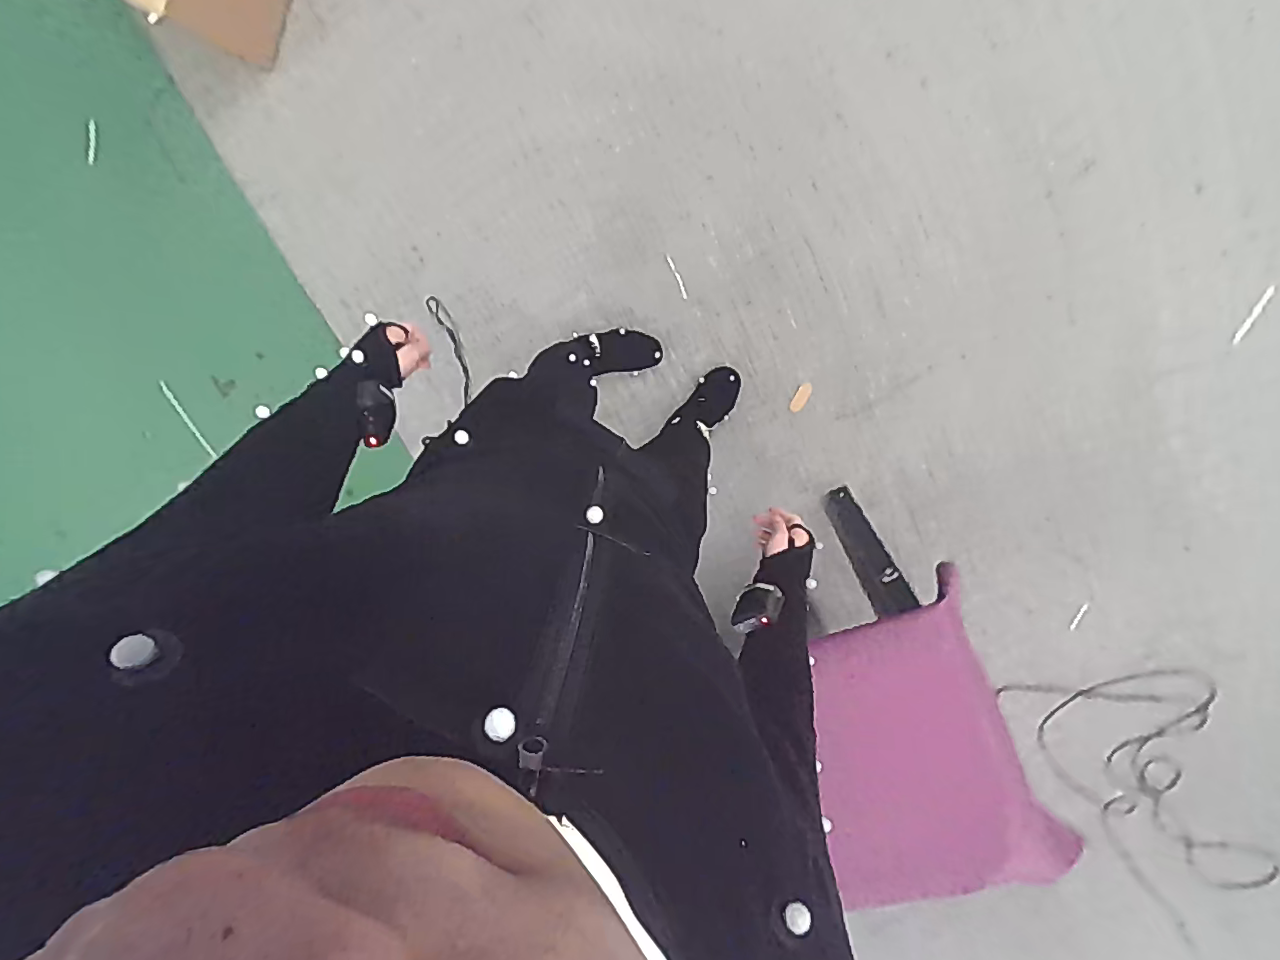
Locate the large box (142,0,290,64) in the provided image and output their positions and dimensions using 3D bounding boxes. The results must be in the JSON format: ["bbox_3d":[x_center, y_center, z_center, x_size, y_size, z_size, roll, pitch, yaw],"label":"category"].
[{"bbox_3d":[-1.002,-1.260,1.190,0.320,0.320,0.408,32,111,-3],"label":"large box"}]
